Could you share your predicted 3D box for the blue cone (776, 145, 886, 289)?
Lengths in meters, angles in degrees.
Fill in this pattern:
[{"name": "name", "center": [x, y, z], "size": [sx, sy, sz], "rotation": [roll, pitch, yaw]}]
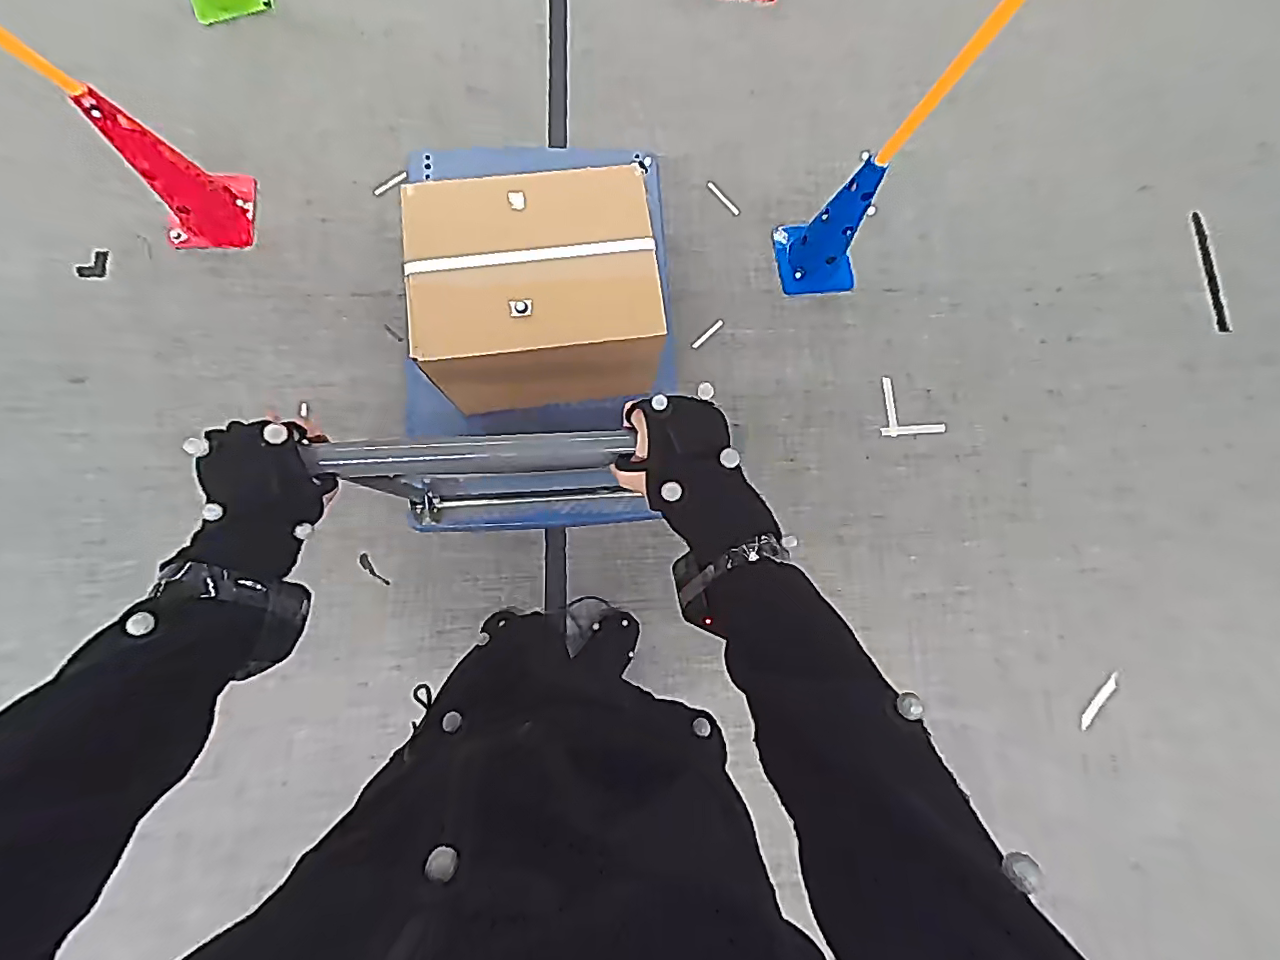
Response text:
[{"name": "blue cone", "center": [0.478, -0.630, 1.287], "size": [0.193, 0.380, 0.192], "rotation": [-5, 80, -5]}]
